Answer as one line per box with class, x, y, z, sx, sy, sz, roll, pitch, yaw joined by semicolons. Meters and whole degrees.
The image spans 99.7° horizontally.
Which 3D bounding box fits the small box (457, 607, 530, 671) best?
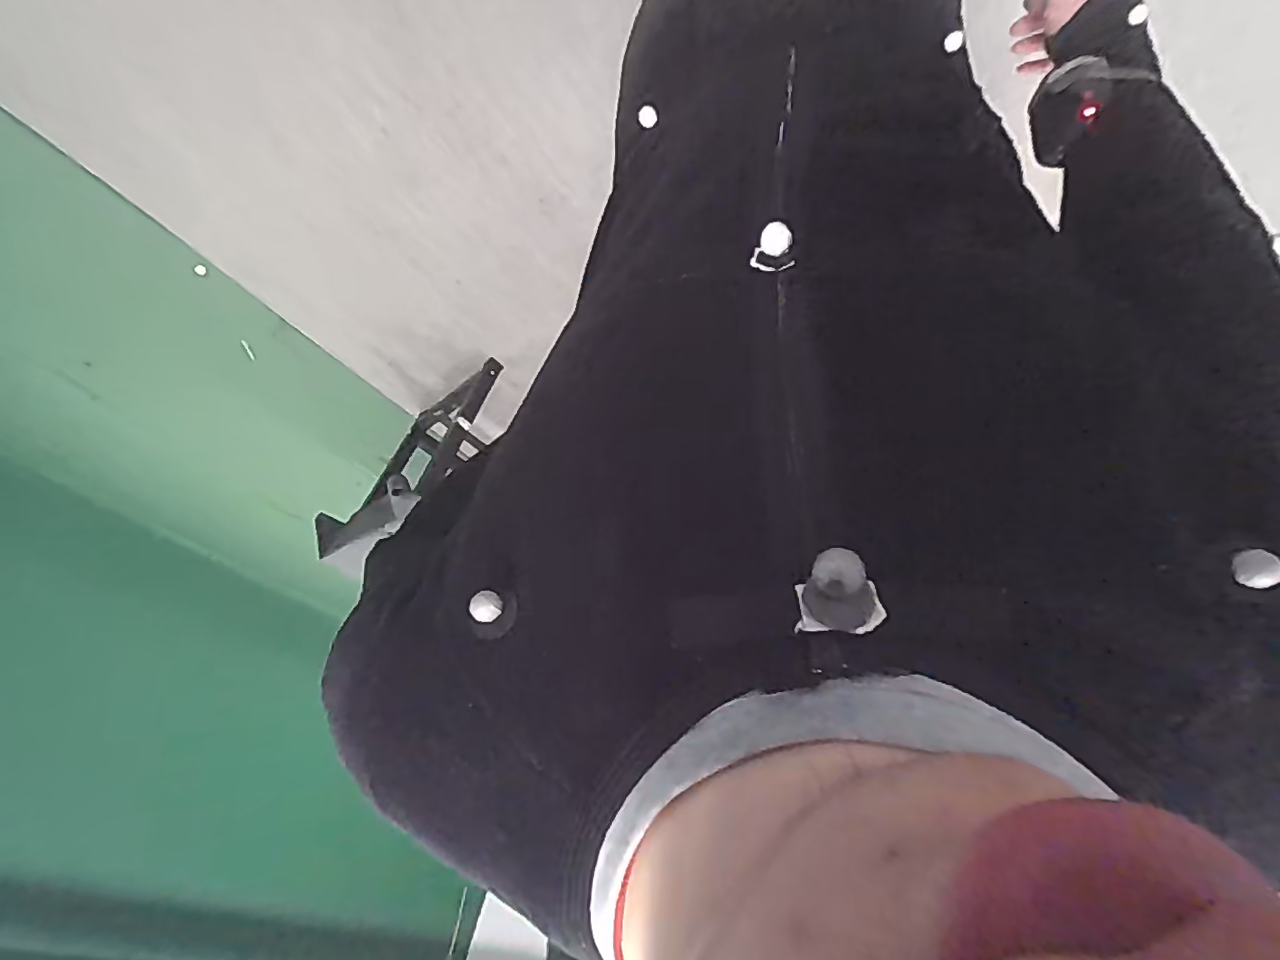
small box;-0.531;0.583;1.979;0.179;0.176;0.168;-23;129;39
